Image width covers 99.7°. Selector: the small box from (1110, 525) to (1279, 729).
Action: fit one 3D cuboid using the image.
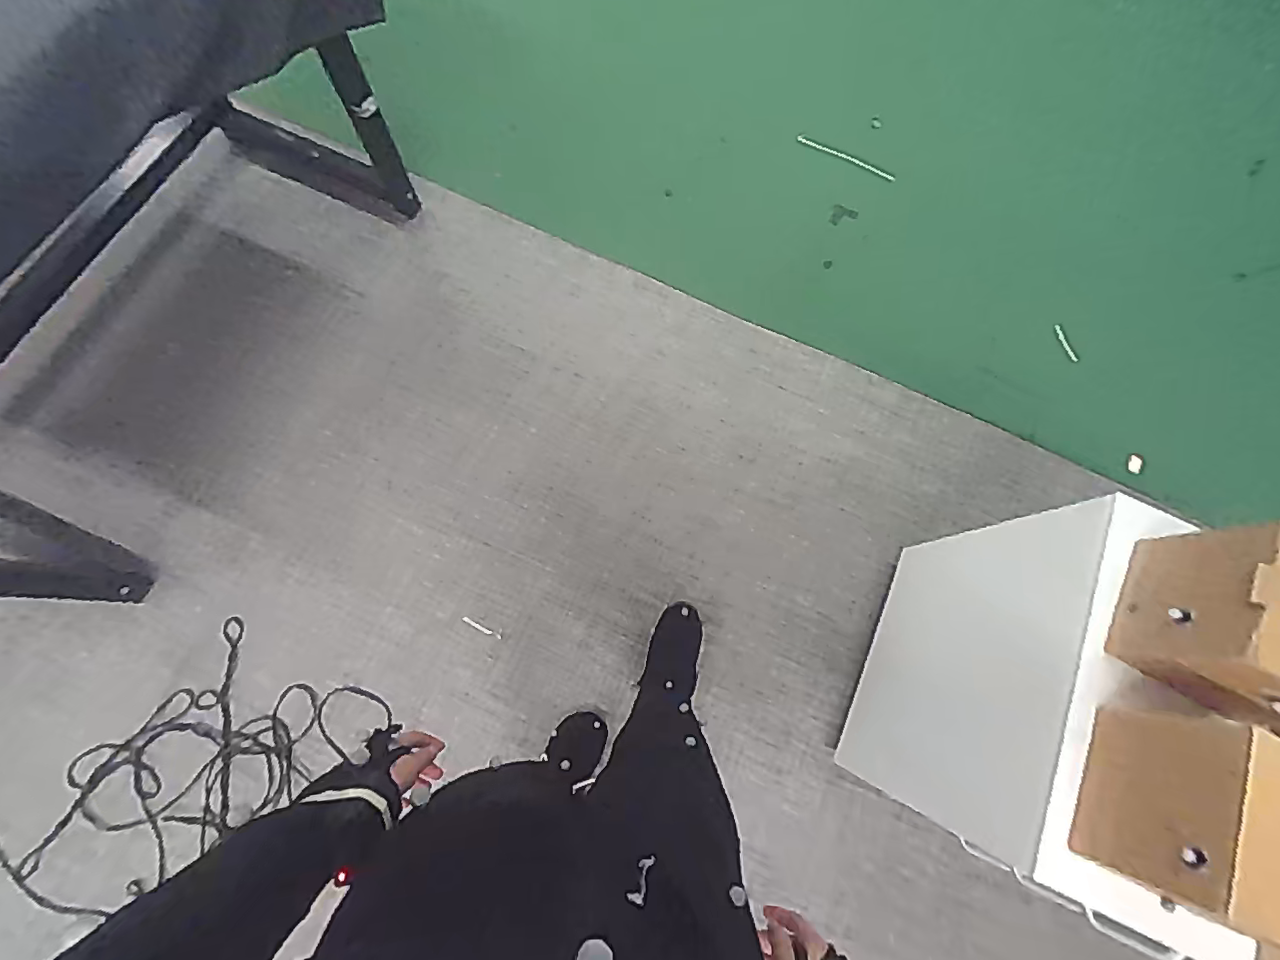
[{"bbox_3d":[0.704,0.176,0.620,0.179,0.176,0.168,30,76,3],"label":"small box"}]
